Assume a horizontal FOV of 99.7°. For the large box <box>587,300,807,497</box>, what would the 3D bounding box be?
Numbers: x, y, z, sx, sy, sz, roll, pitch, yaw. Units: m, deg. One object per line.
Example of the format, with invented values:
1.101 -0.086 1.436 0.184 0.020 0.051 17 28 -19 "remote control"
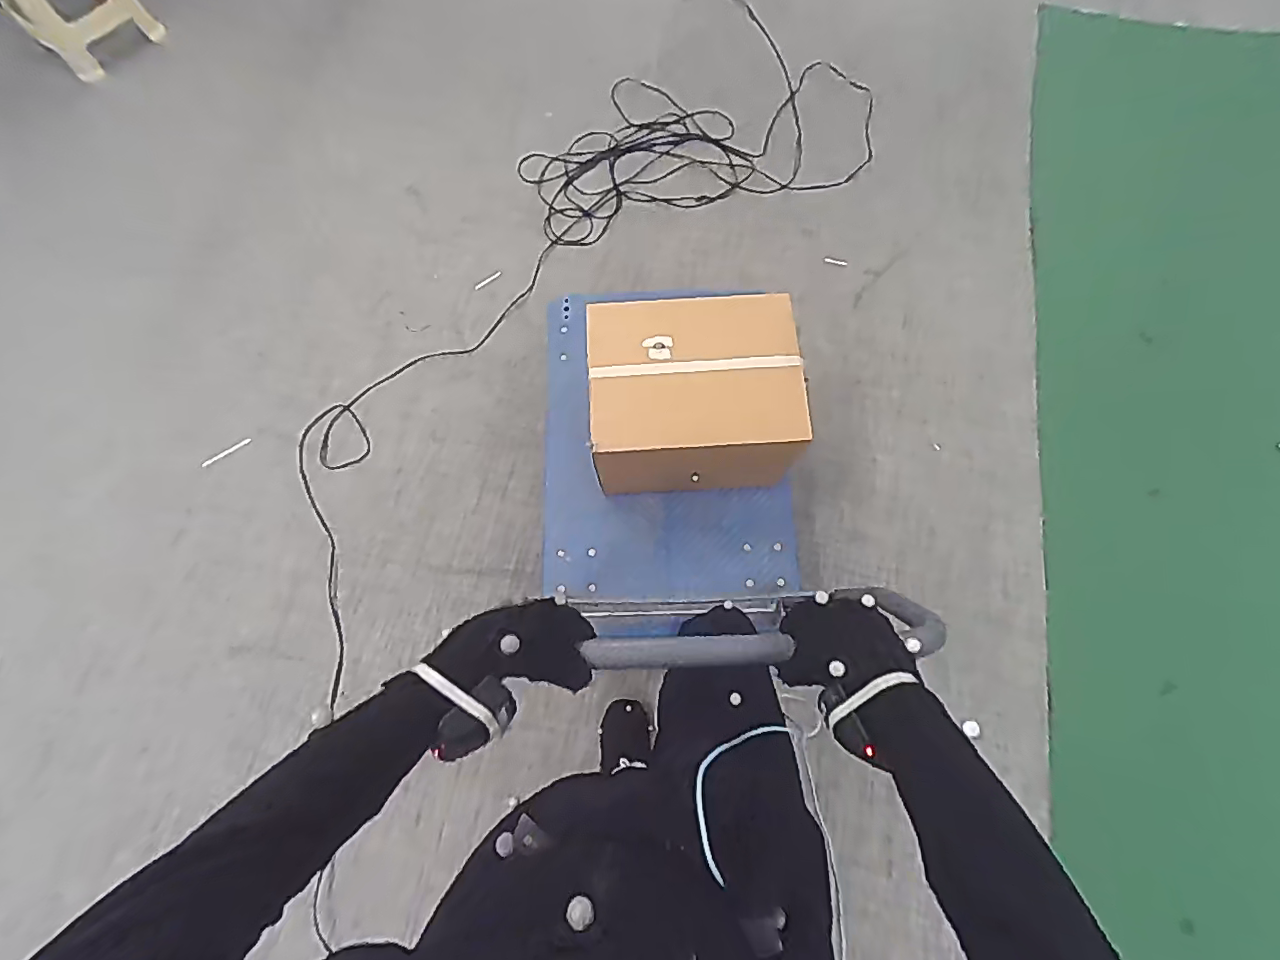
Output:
0.108 -0.156 1.181 0.408 0.320 0.320 -4 73 1 "large box"
